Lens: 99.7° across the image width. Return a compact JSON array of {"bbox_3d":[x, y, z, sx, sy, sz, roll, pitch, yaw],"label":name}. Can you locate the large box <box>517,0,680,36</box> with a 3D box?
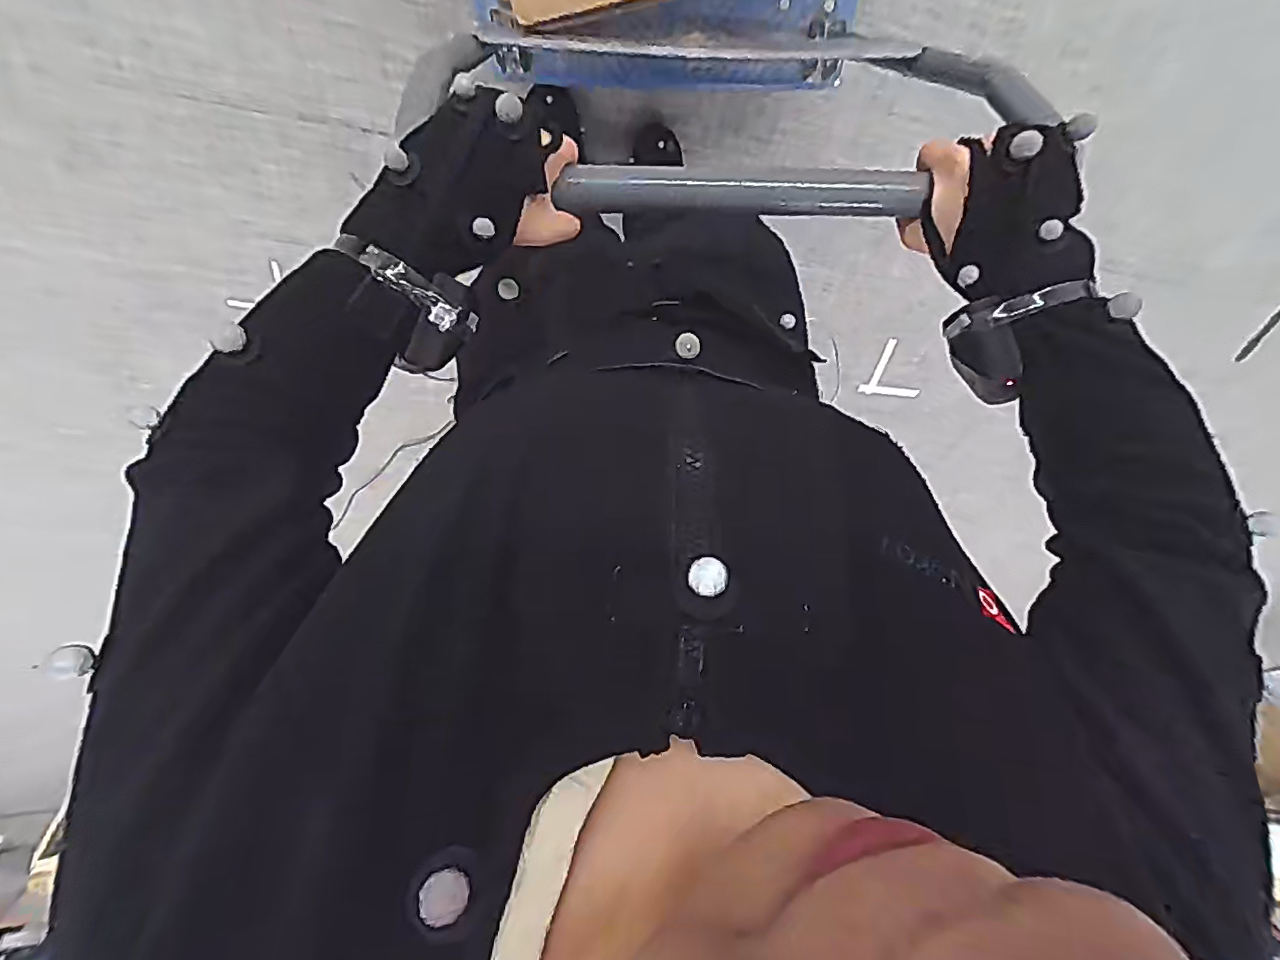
[{"bbox_3d":[0.020,-0.742,0.602,0.408,0.320,0.320,-12,129,3],"label":"large box"}]
